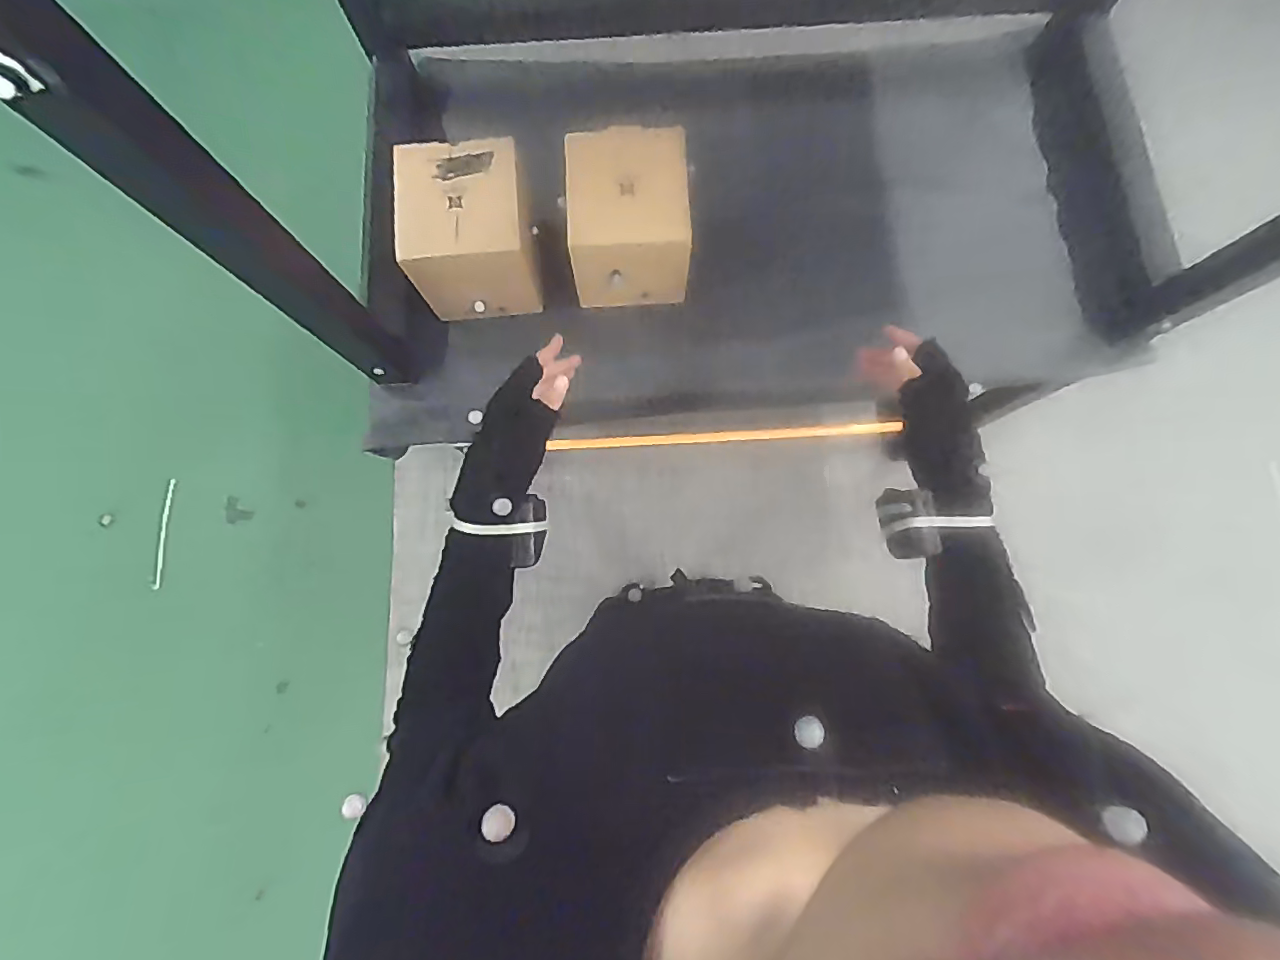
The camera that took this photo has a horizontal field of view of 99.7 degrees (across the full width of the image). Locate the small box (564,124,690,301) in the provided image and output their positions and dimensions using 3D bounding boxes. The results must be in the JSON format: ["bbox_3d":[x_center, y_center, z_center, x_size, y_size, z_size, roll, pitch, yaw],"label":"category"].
[{"bbox_3d":[-0.017,-0.378,0.795,0.168,0.176,0.179,-3,78,0],"label":"small box"}]

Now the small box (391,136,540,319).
[{"bbox_3d":[-0.244,-0.360,0.791,0.168,0.176,0.179,-5,78,0],"label":"small box"}]
